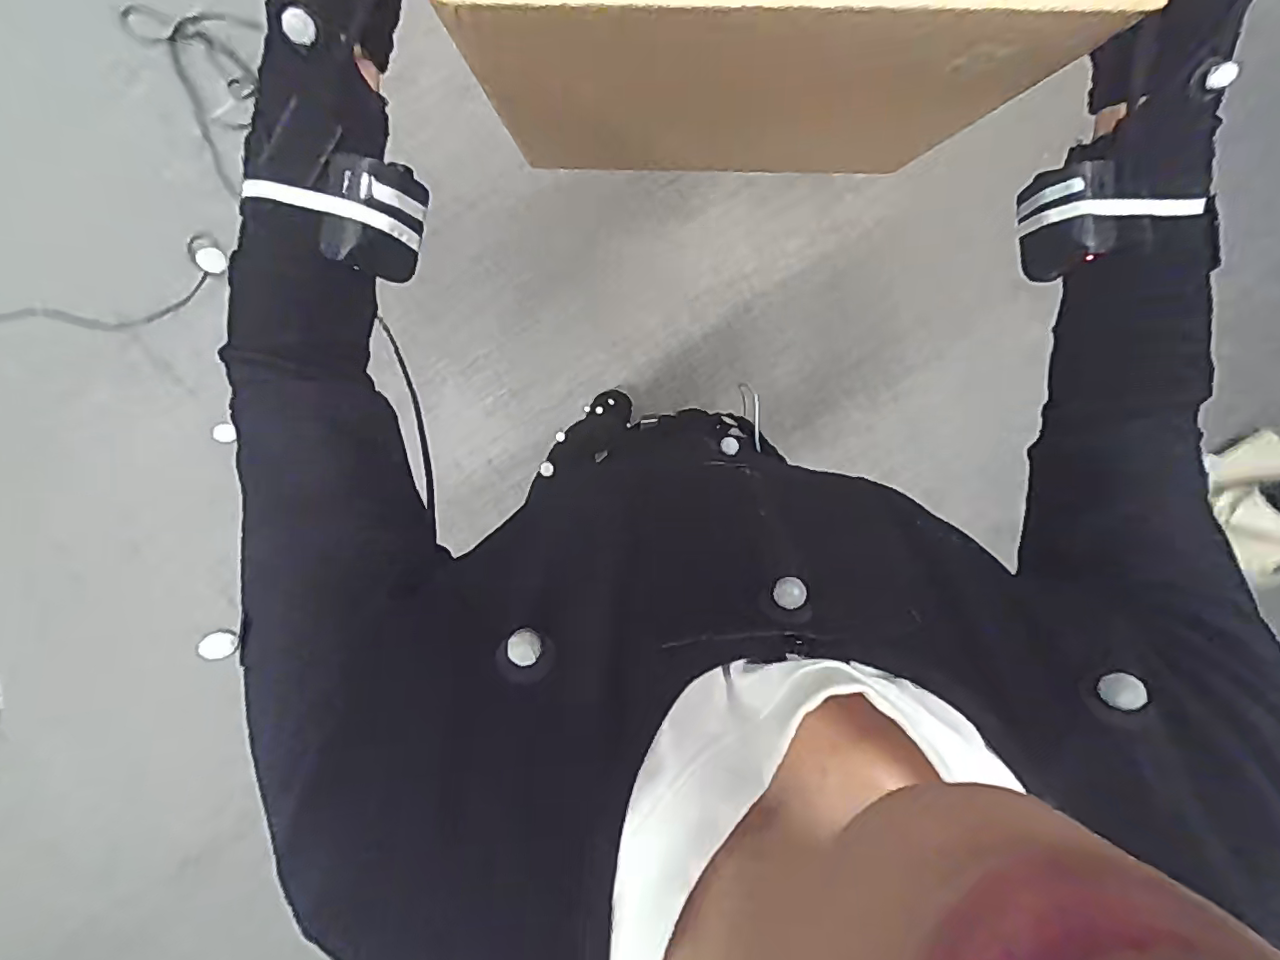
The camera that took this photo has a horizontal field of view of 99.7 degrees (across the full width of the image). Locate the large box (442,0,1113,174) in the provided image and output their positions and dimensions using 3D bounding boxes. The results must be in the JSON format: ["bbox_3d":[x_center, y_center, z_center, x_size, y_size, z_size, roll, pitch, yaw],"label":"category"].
[{"bbox_3d":[0.073,-0.453,0.413,0.408,0.320,0.320,-2,106,-2],"label":"large box"}]
